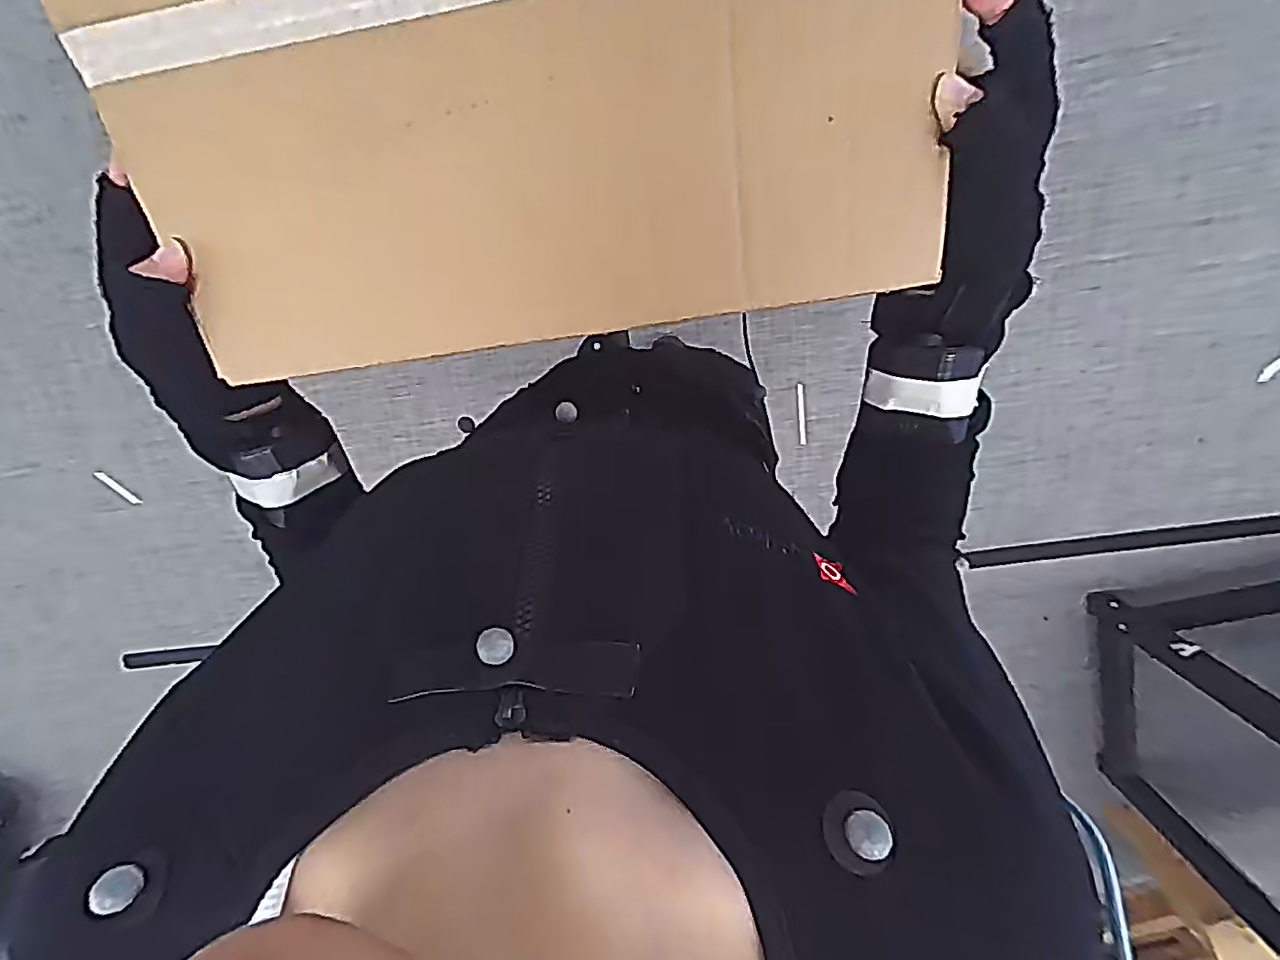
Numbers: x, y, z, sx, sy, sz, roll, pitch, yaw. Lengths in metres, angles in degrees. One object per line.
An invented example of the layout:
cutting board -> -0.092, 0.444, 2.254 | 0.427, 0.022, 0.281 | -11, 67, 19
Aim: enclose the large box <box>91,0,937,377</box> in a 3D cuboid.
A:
large box -> -0.061, -0.285, 0.390 | 0.408, 0.320, 0.320 | -7, 113, 5
